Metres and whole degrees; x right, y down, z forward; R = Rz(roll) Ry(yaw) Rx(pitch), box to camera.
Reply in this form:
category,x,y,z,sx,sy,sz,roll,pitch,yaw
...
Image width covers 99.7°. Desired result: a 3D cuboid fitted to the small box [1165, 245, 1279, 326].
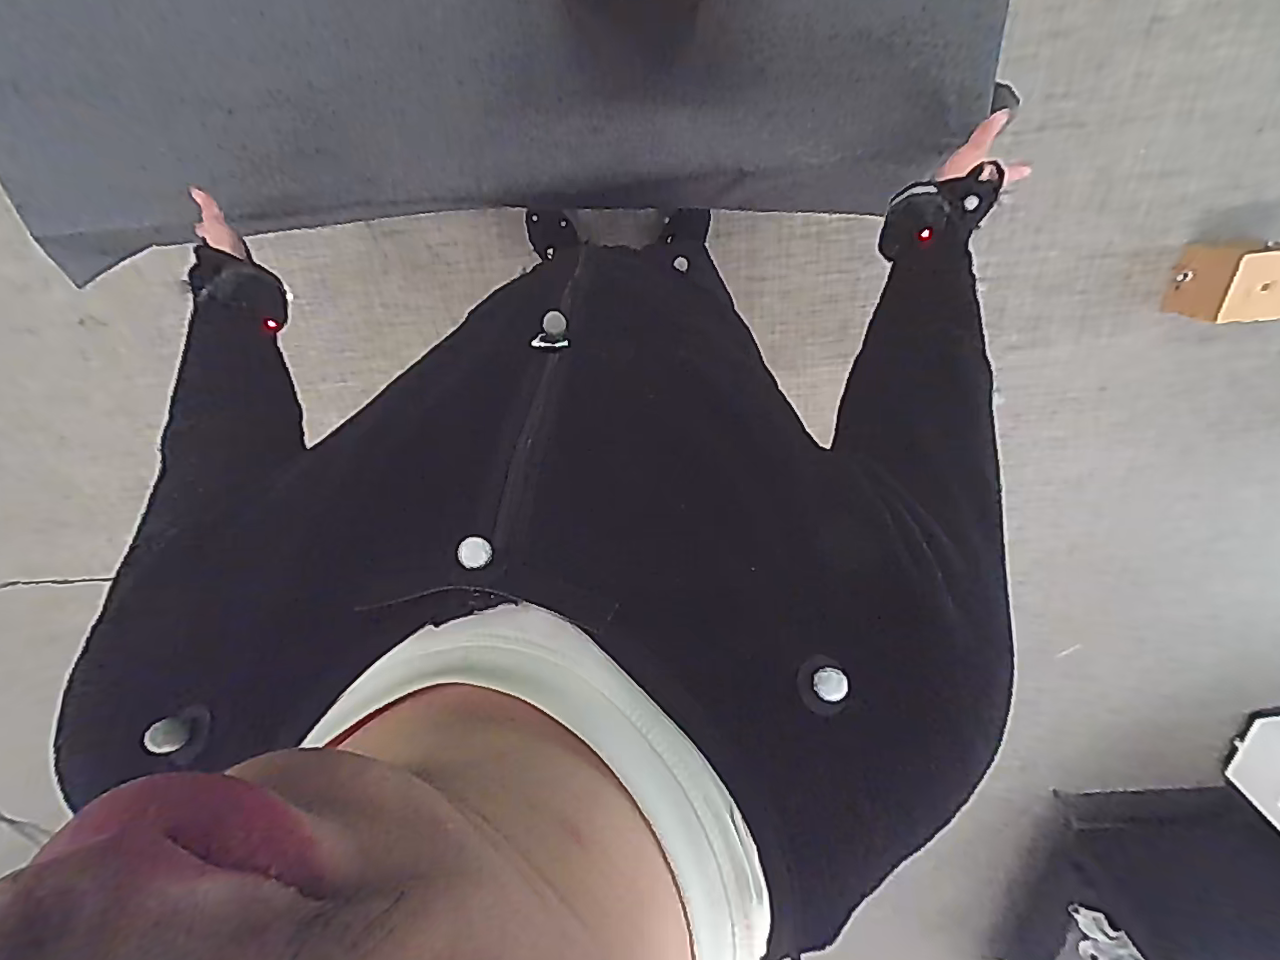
category,x,y,z,sx,sy,sz,roll,pitch,yaw
small box,1.497,-0.489,1.351,0.179,0.176,0.168,-3,118,1
